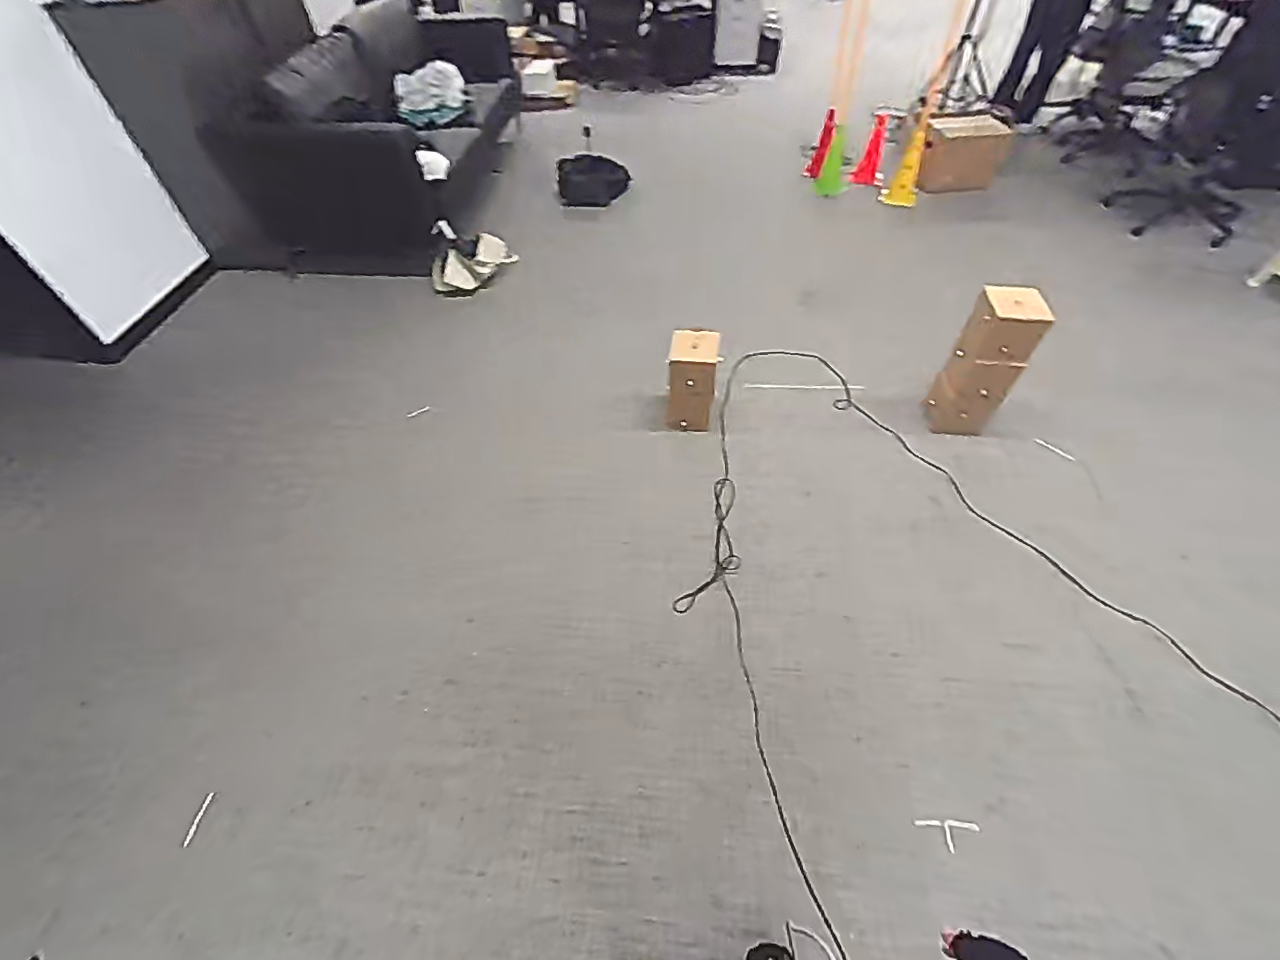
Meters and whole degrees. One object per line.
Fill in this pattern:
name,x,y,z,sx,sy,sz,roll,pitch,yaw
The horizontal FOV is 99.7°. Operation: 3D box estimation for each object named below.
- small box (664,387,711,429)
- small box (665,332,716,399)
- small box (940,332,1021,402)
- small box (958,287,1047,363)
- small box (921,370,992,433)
small box,0.185,-0.318,2.055,0.168,0.176,0.179,7,51,8
small box,0.182,-0.409,1.938,0.168,0.176,0.179,5,50,7
small box,1.173,-0.395,1.883,0.168,0.176,0.179,5,51,5
small box,1.170,-0.506,1.764,0.168,0.176,0.179,5,51,5
small box,1.170,-0.291,2.010,0.179,0.176,0.168,4,51,5
